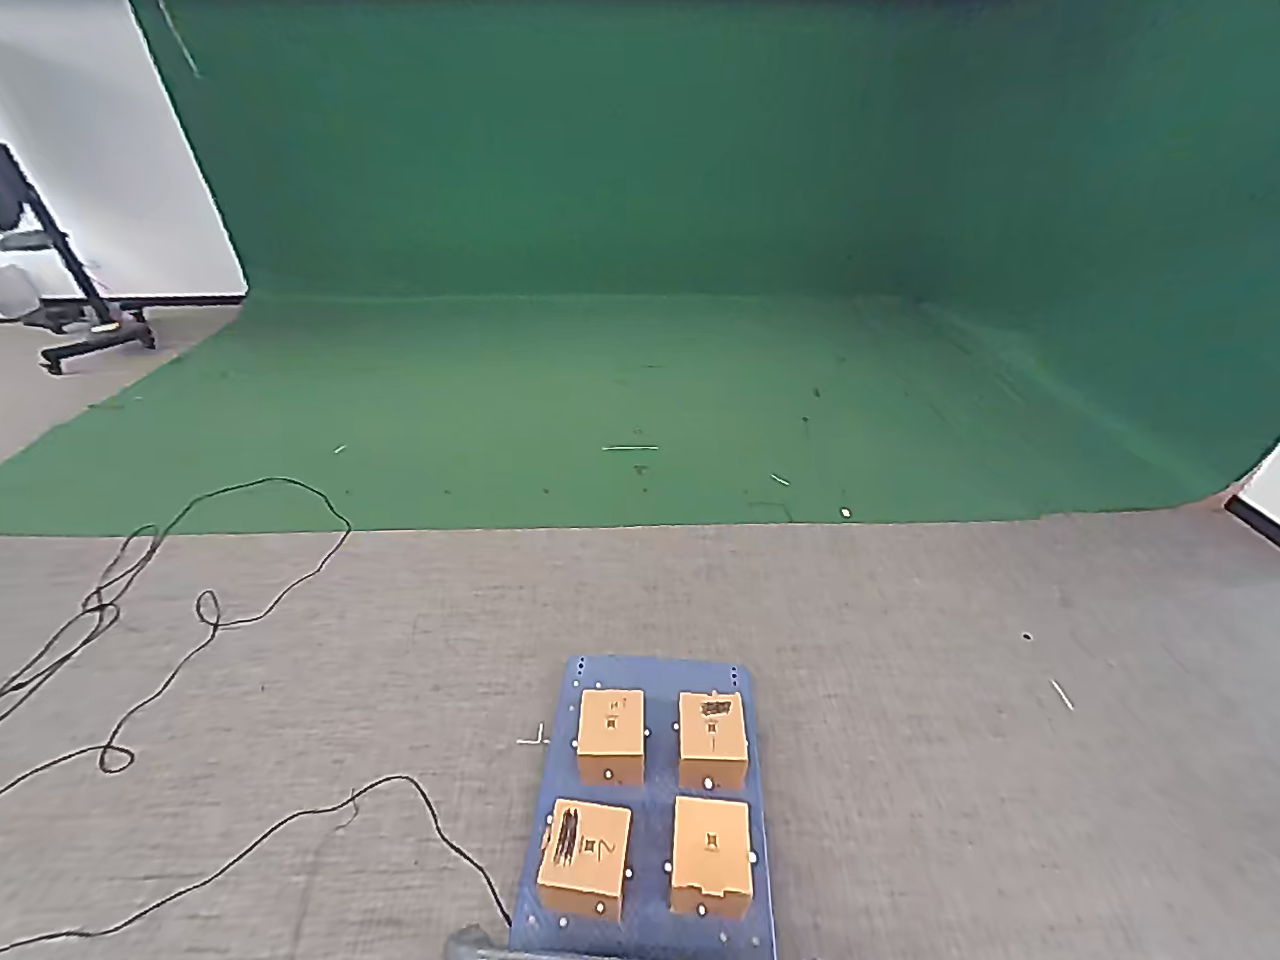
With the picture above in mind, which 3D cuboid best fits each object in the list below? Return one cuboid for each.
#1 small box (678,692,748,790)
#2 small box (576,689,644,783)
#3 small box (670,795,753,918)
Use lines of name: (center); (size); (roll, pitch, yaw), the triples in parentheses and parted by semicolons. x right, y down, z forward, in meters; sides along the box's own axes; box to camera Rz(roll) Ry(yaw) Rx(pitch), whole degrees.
small box: (0.184, 0.684, 1.421); (0.168, 0.176, 0.179); (1, 39, 2)
small box: (-0.073, 0.679, 1.430); (0.168, 0.176, 0.179); (1, 38, 0)
small box: (0.156, 0.846, 1.216); (0.168, 0.176, 0.179); (3, 38, 4)
